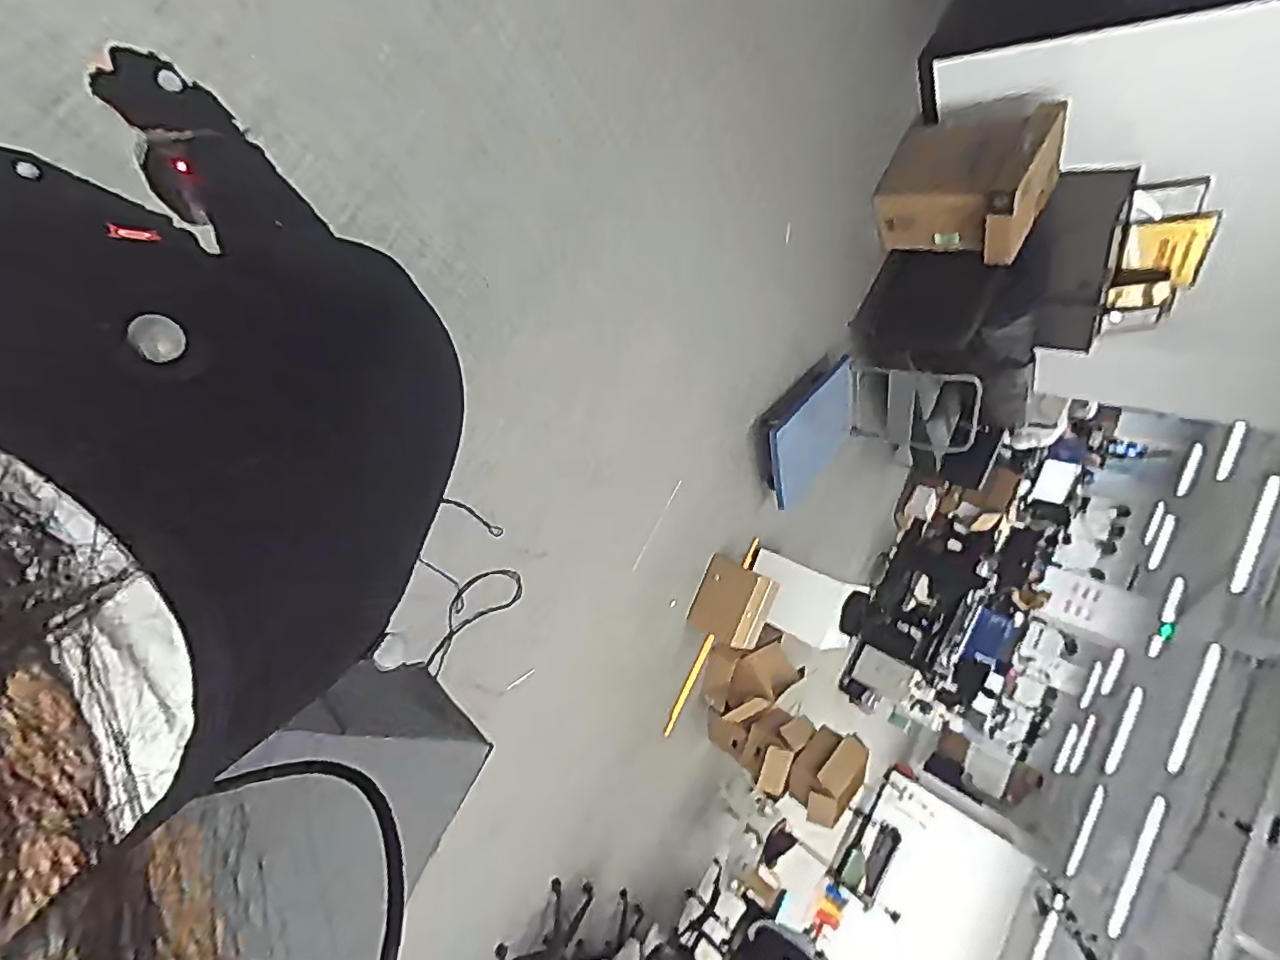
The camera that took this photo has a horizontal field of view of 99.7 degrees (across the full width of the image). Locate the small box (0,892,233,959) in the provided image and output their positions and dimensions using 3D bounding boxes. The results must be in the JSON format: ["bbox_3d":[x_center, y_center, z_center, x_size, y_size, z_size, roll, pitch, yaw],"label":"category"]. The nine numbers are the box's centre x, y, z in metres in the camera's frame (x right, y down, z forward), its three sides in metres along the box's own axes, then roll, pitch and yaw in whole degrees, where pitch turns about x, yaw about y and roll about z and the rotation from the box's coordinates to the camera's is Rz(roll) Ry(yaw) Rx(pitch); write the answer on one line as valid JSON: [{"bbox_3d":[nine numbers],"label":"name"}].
[{"bbox_3d":[-0.529,0.543,0.513,0.179,0.176,0.168,38,78,-50],"label":"small box"}]
